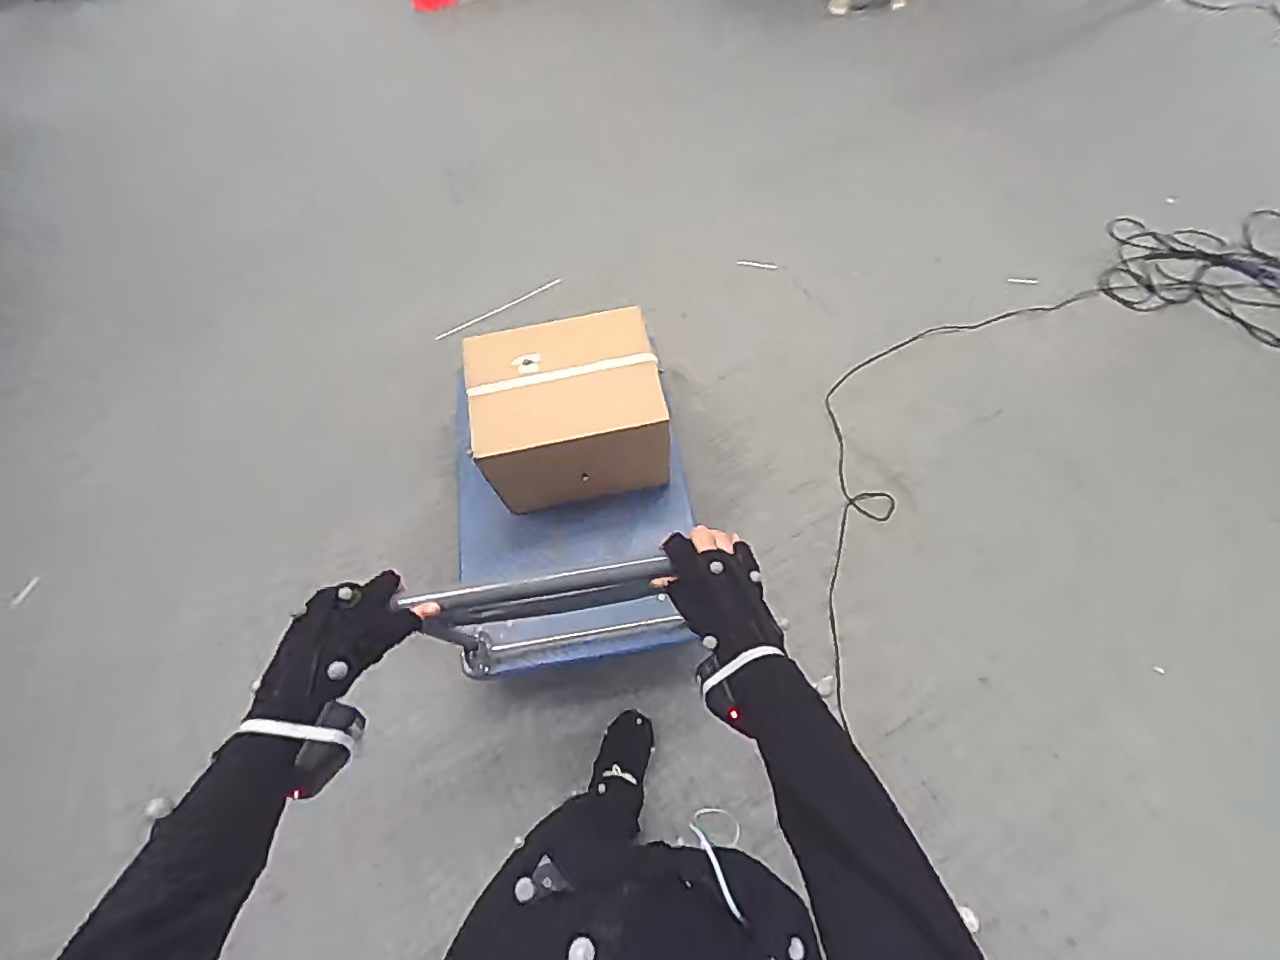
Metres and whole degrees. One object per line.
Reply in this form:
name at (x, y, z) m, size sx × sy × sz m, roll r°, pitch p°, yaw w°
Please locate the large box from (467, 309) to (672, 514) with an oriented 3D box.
large box at (-0.153, -0.149, 1.290) m, size 0.408 × 0.320 × 0.320 m, roll -13°, pitch 64°, yaw -1°
